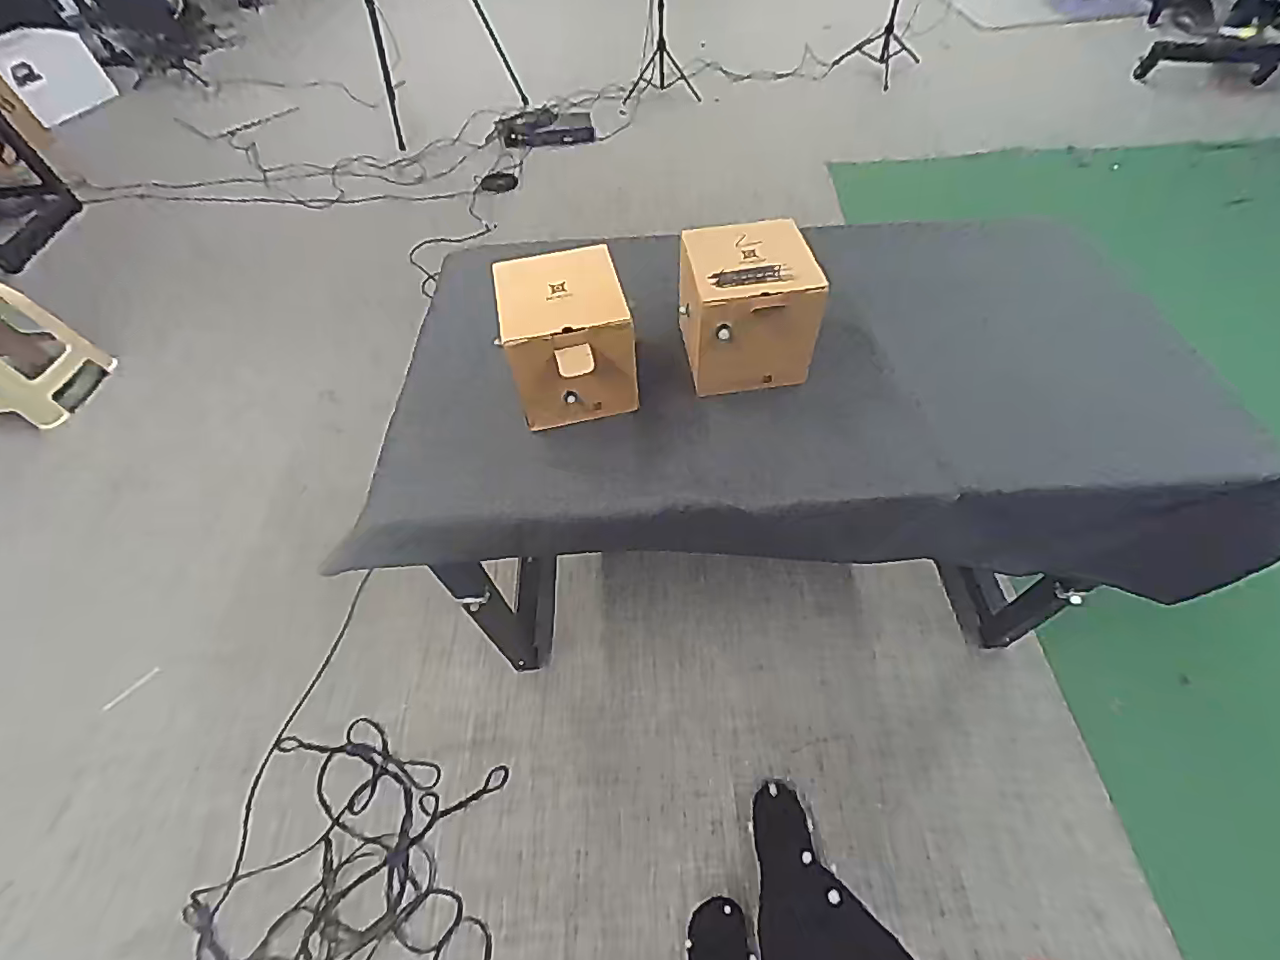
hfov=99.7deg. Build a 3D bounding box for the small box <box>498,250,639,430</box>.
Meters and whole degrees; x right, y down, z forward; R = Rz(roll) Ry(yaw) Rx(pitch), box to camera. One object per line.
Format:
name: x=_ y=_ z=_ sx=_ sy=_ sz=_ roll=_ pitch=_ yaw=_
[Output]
small box: x=-0.099 y=-0.199 z=0.781 sx=0.168 sy=0.176 sz=0.179 roll=-12 pitch=55 yaw=-6
